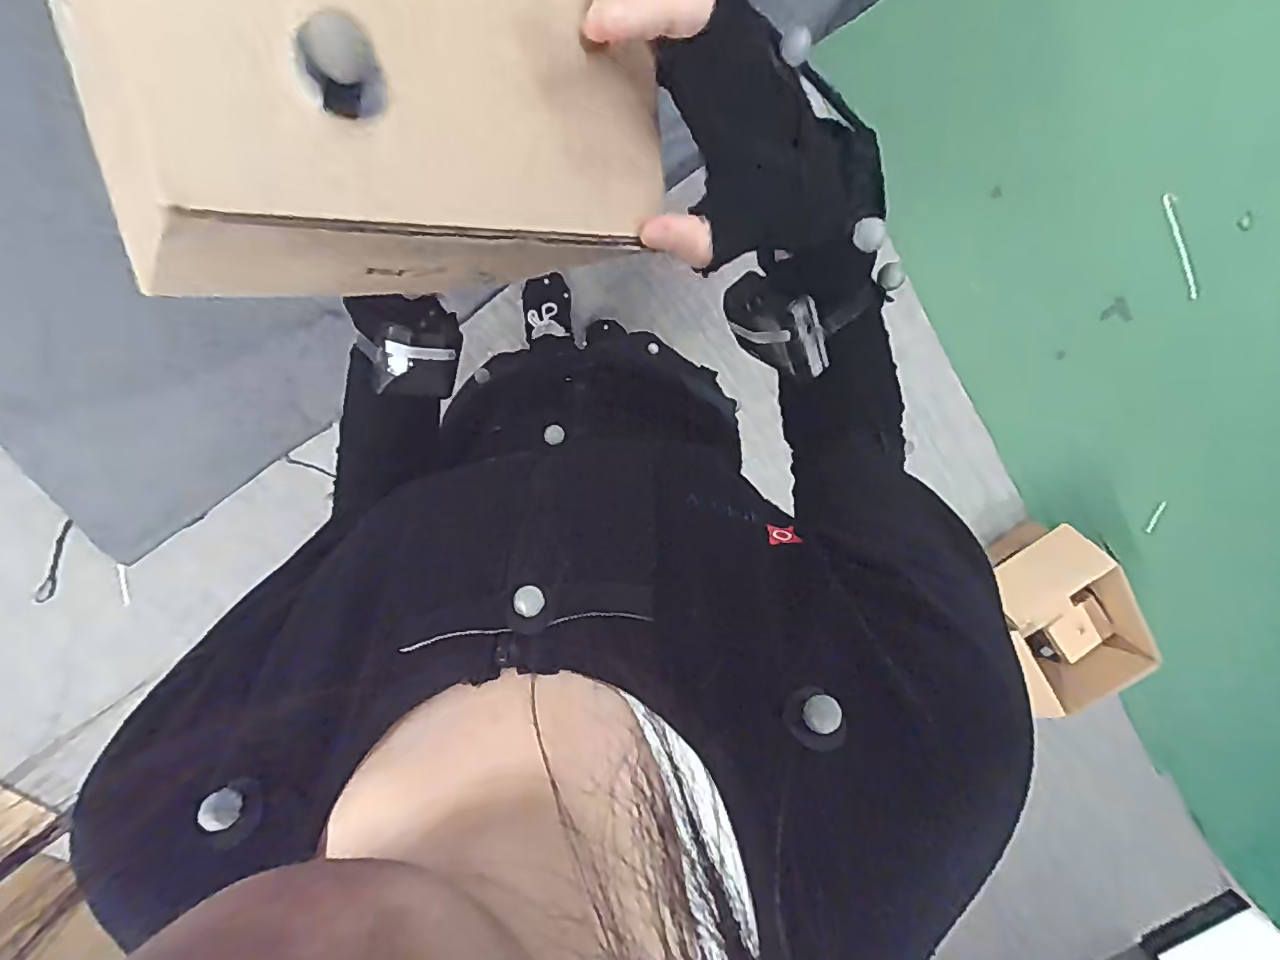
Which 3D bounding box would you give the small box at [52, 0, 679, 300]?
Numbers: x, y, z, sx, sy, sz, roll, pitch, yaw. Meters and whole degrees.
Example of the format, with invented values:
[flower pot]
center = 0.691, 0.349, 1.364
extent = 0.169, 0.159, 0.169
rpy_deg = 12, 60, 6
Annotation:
[small box]
center = -0.106, -0.171, 0.215
extent = 0.179, 0.168, 0.176
rpy_deg = -20, 111, -42
